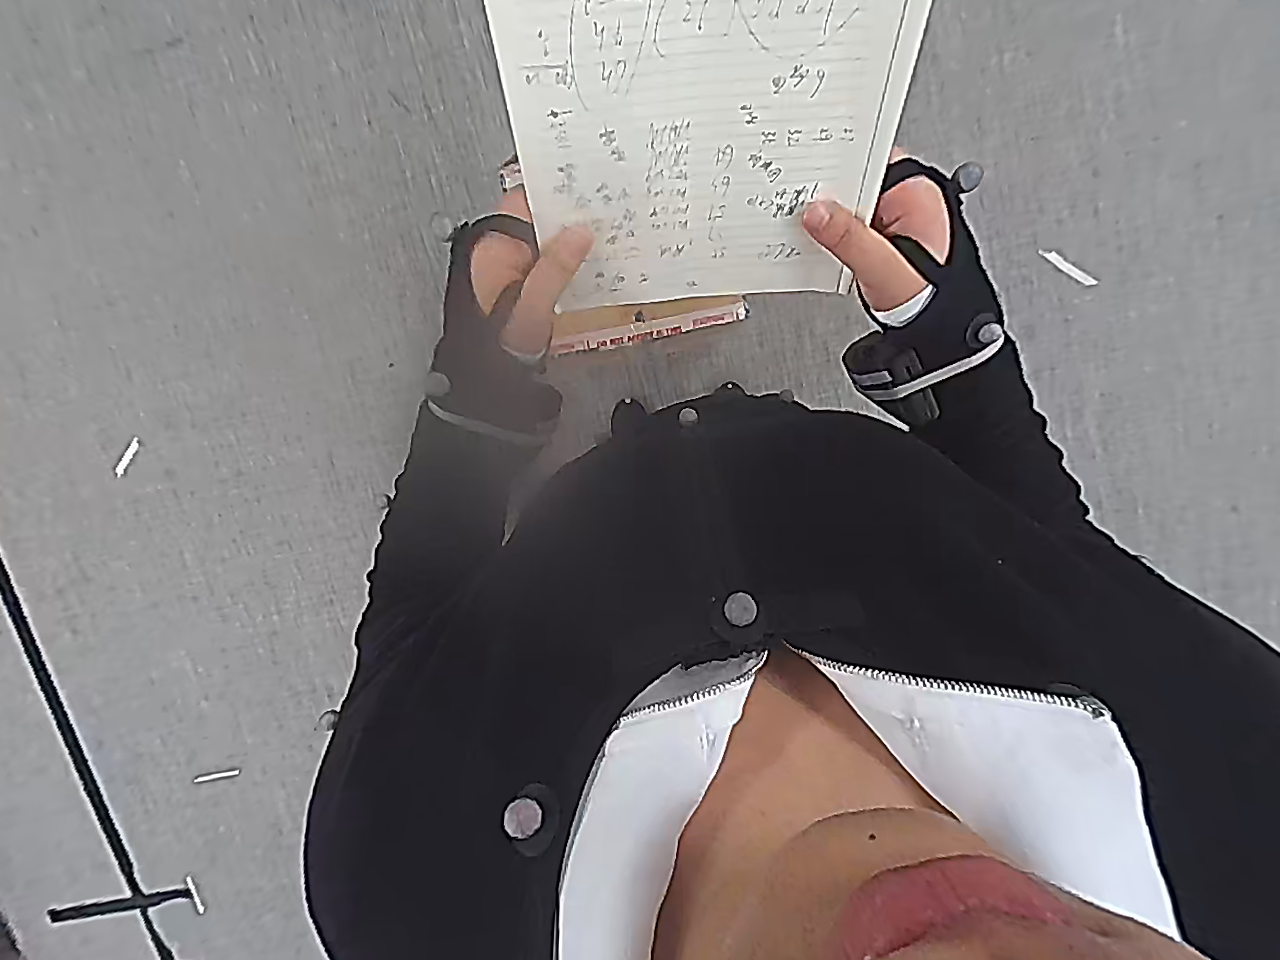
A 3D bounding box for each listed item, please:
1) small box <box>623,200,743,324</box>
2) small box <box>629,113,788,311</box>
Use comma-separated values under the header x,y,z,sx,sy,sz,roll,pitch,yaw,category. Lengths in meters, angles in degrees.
x,y,z,sx,sy,sz,roll,pitch,yaw,category
0.077,-0.362,0.875,0.179,0.176,0.168,-15,99,3,small box
0.080,-0.335,0.712,0.168,0.176,0.179,-12,100,2,small box
